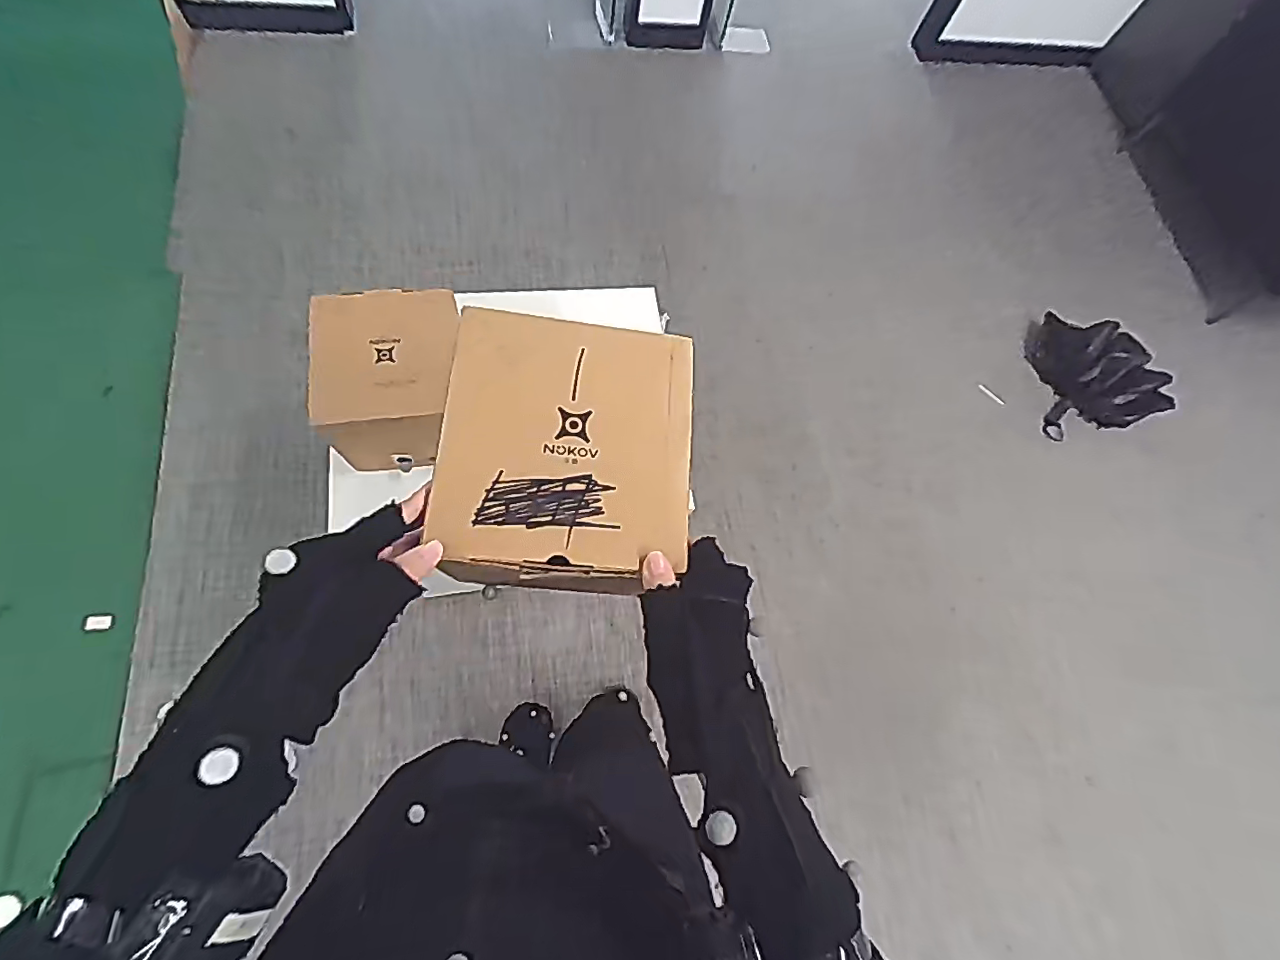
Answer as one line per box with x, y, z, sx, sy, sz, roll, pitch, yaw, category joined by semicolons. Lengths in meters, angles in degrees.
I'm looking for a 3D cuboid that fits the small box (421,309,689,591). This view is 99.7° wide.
-0.061;-0.007;0.440;0.168;0.176;0.179;6;72;-8;small box

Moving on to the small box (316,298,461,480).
-0.310;-0.115;0.723;0.168;0.176;0.179;-8;74;-10;small box
